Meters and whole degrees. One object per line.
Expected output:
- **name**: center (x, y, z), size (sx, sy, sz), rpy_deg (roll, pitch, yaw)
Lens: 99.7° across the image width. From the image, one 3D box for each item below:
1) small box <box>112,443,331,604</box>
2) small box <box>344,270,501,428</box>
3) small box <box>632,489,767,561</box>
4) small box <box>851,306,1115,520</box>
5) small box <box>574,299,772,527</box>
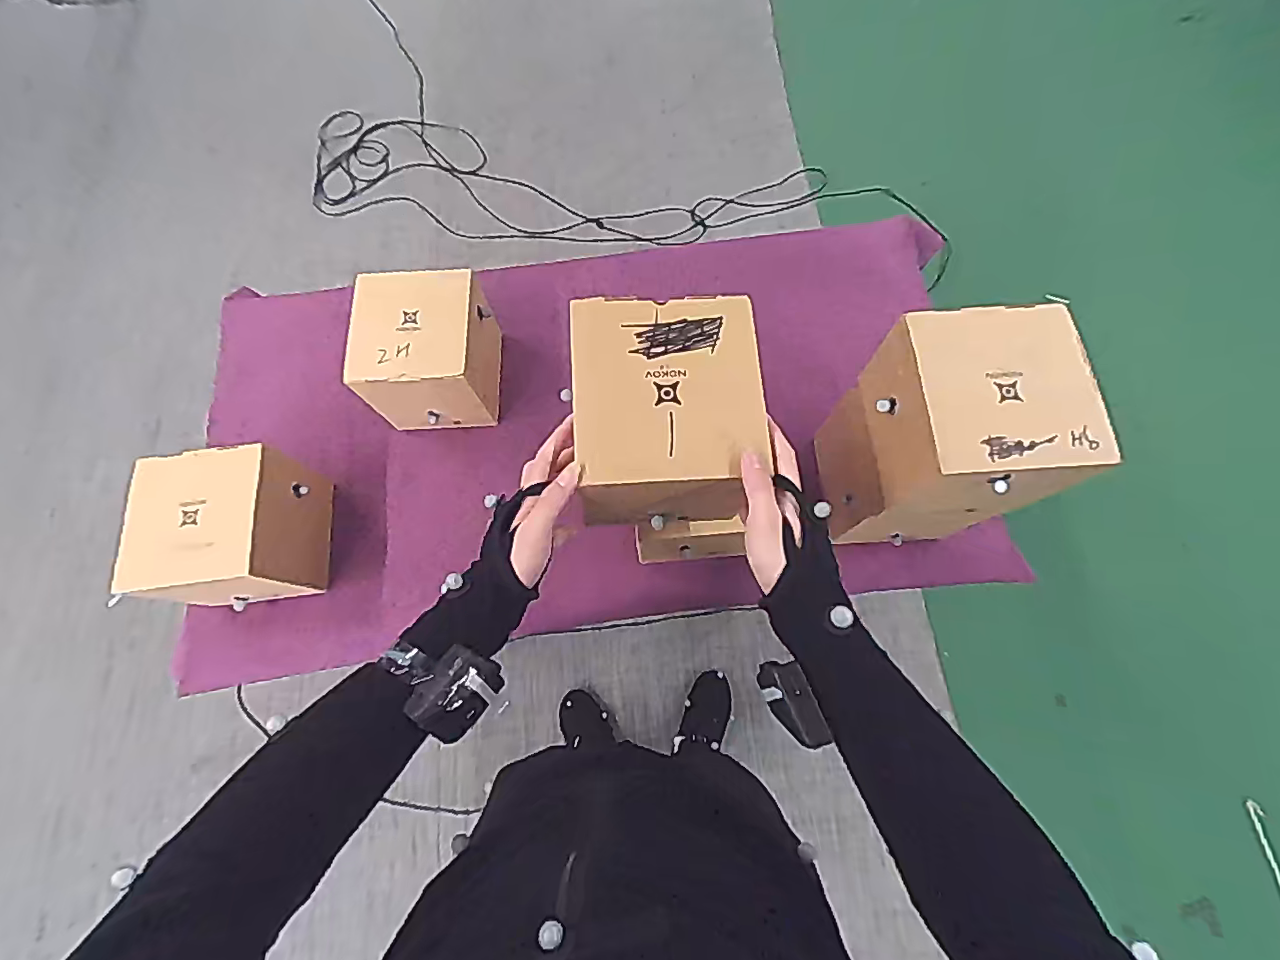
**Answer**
- **small box**: center (-0.554, 0.067, 0.745), size (0.168, 0.176, 0.179), rpy_deg (-7, 72, -1)
- **small box**: center (-0.316, -0.192, 0.824), size (0.168, 0.176, 0.179), rpy_deg (-2, 73, 1)
- **small box**: center (0.071, 0.012, 0.752), size (0.168, 0.176, 0.179), rpy_deg (-5, 70, 0)
- **small box**: center (0.349, -0.065, 0.594), size (0.168, 0.176, 0.179), rpy_deg (-3, 71, 2)
- **small box**: center (0.021, -0.058, 0.542), size (0.168, 0.176, 0.179), rpy_deg (-3, 74, -3)
